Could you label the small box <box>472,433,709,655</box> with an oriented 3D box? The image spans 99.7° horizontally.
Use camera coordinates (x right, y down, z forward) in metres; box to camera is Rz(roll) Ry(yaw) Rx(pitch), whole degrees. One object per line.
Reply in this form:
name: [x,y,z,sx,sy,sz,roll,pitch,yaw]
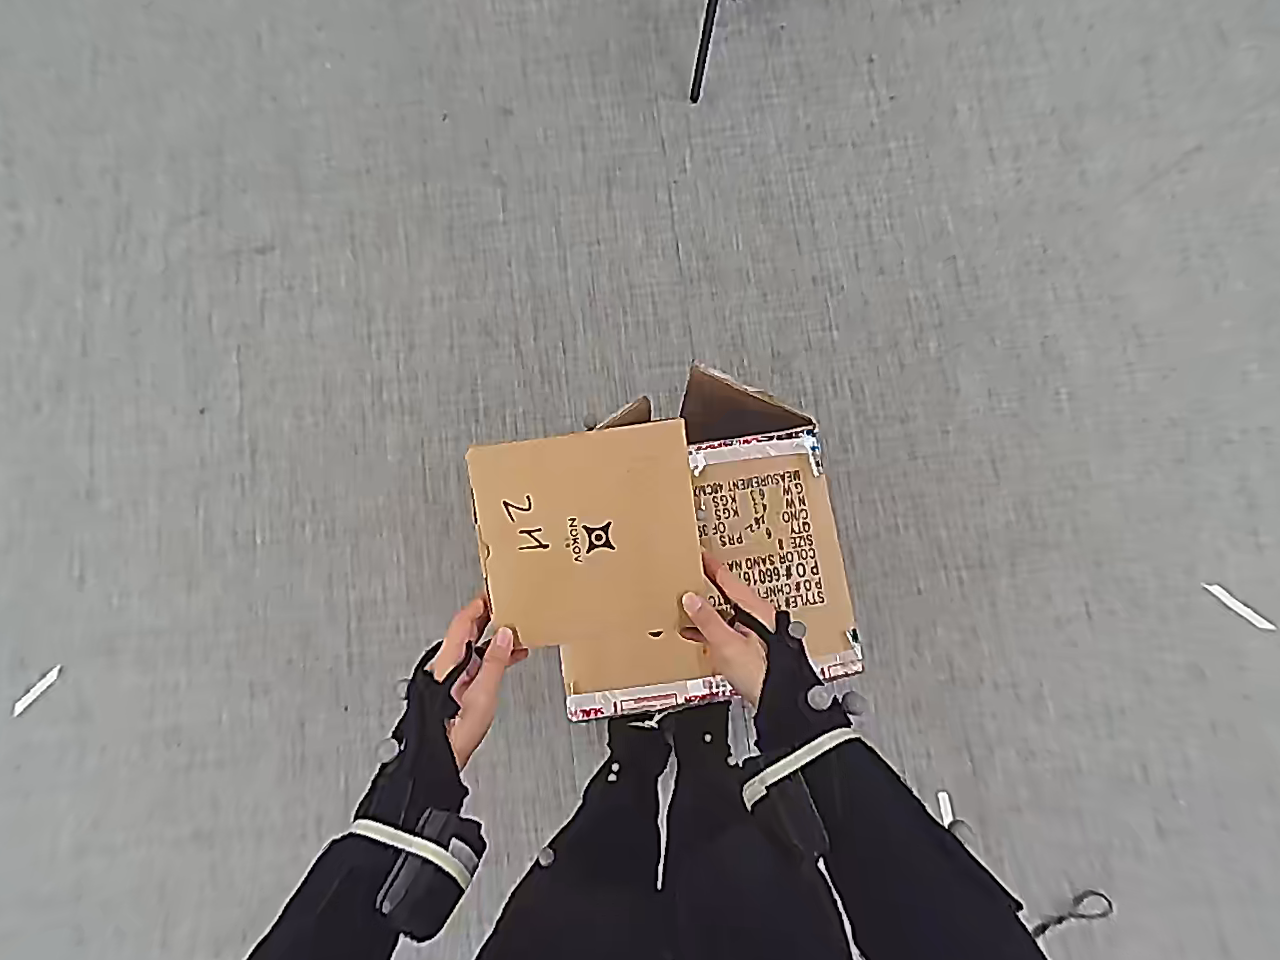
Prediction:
small box: [-0.039,0.047,0.514,0.179,0.176,0.168,-8,92,1]
